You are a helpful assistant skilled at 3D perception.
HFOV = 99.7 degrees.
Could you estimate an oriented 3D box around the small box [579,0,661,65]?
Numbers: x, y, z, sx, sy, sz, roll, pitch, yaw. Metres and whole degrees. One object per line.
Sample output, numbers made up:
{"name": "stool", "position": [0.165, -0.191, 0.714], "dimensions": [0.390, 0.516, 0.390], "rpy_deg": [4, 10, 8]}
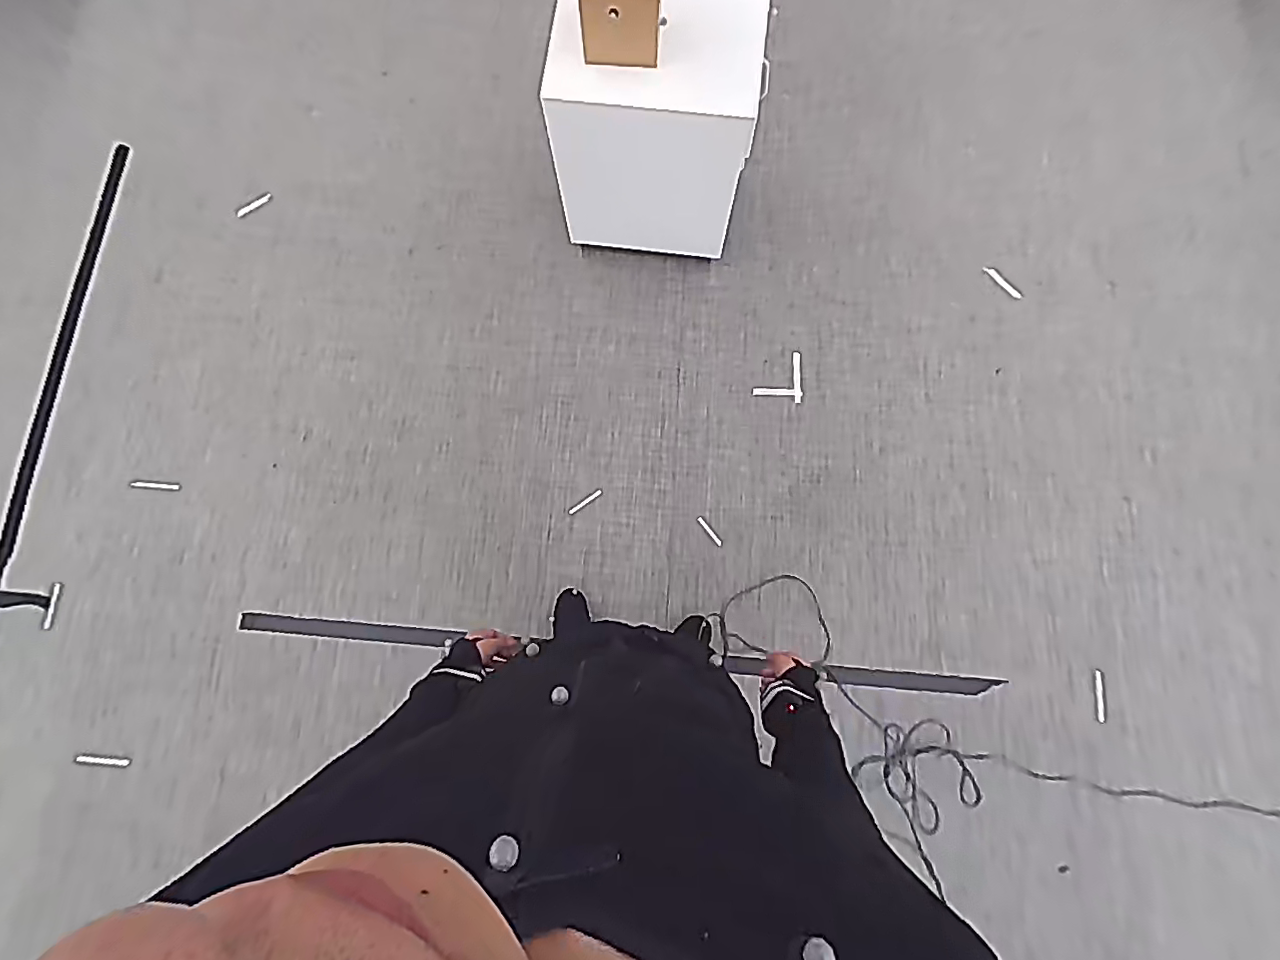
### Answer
{"name": "small box", "position": [-0.042, -1.089, 1.229], "dimensions": [0.179, 0.176, 0.168], "rpy_deg": [4, 79, 0]}
